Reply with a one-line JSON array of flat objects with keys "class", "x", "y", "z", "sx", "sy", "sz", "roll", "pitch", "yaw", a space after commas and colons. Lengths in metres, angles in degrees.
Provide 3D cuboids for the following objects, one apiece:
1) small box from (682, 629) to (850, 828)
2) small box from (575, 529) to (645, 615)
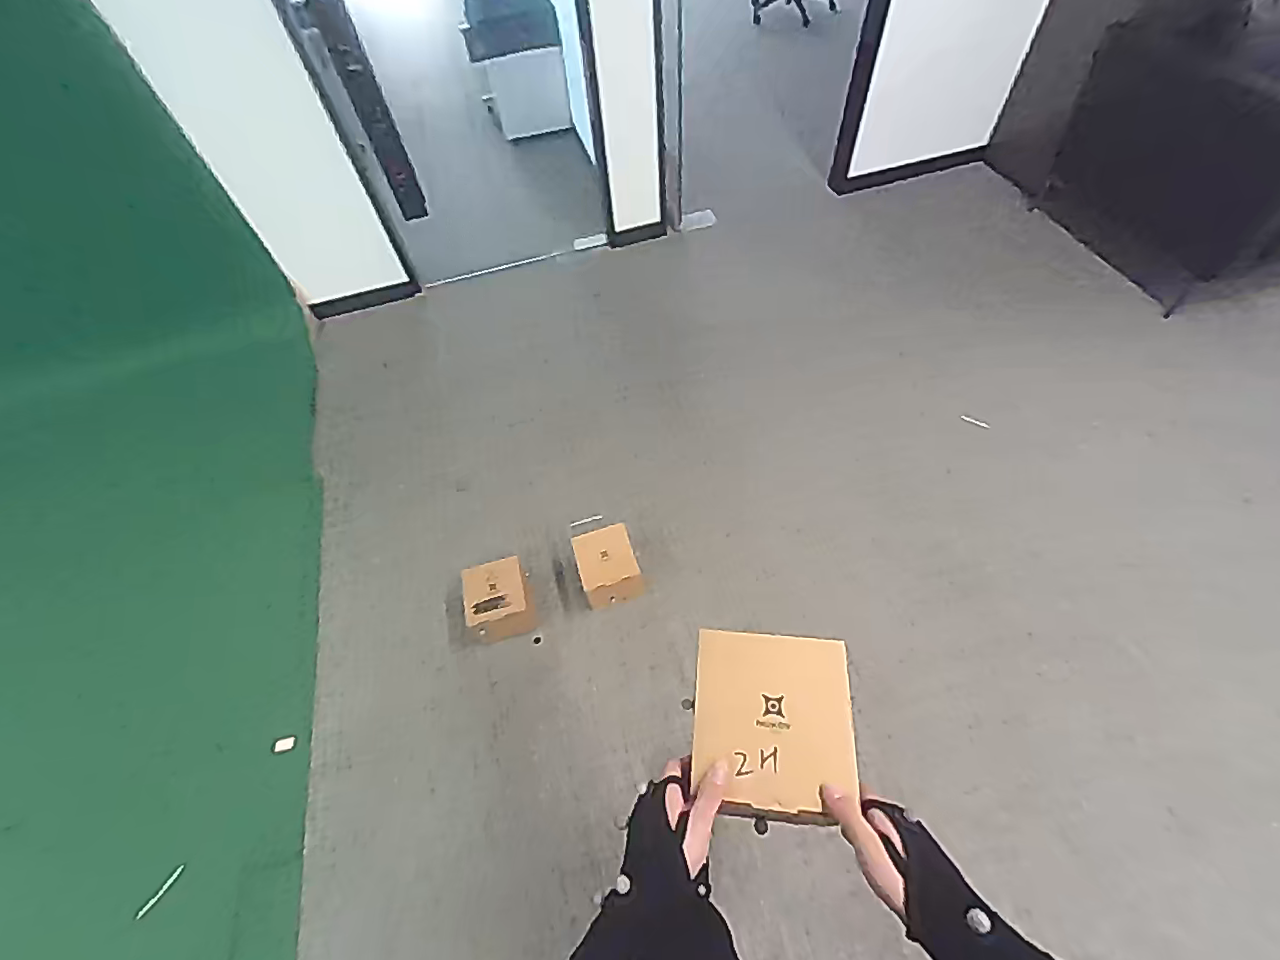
[{"class": "small box", "x": 0.139, "y": 0.296, "z": 0.642, "sx": 0.168, "sy": 0.176, "sz": 0.179, "roll": 3, "pitch": 55, "yaw": 9}, {"class": "small box", "x": -0.088, "y": 0.277, "z": 1.618, "sx": 0.168, "sy": 0.176, "sz": 0.179, "roll": -17, "pitch": 57, "yaw": -6}]
